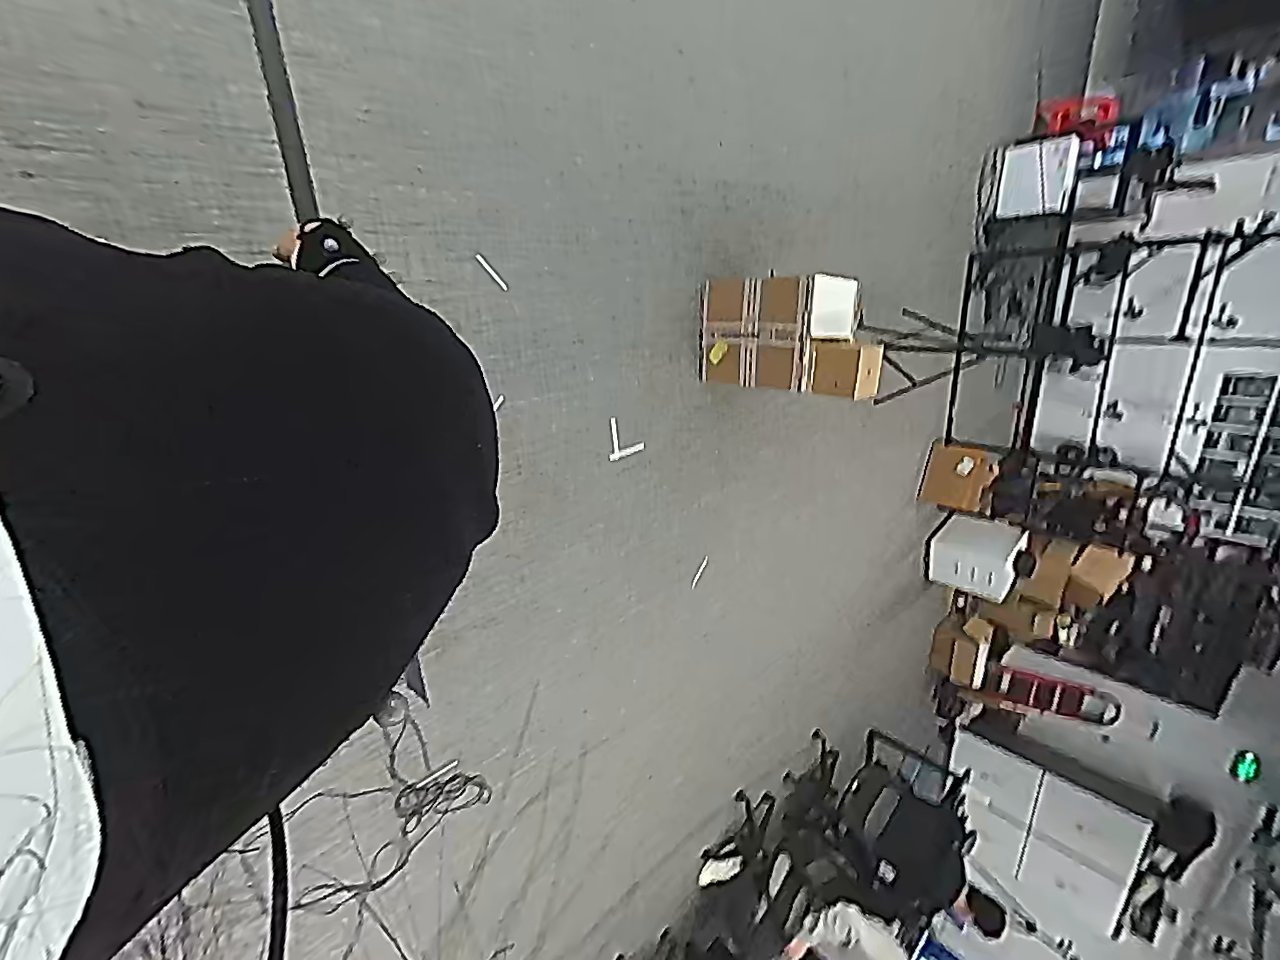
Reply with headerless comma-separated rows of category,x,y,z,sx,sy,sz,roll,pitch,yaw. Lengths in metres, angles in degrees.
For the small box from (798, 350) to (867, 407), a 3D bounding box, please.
small box,0.689,-0.369,1.946,0.168,0.176,0.179,-17,115,-39
